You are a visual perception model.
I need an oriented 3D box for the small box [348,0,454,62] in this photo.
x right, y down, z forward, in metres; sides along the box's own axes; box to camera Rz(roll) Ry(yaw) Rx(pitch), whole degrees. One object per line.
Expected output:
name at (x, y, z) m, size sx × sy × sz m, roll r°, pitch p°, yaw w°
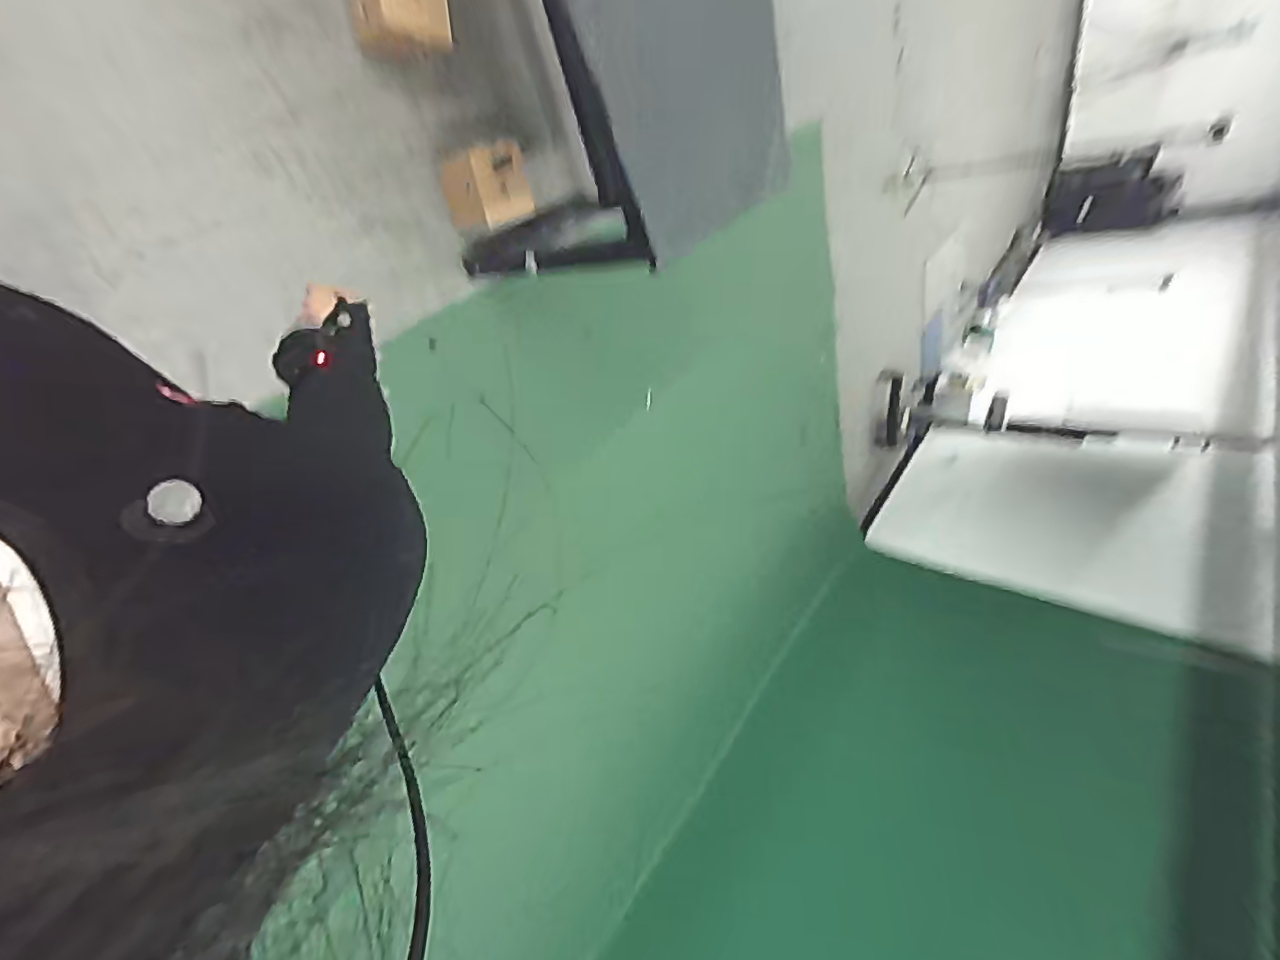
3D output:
small box at (-0.554, -1.098, 1.239) m, size 0.168 × 0.176 × 0.179 m, roll -23°, pitch 117°, yaw -44°

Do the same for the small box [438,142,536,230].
small box at (-0.421, -0.801, 1.483) m, size 0.168 × 0.176 × 0.179 m, roll -38°, pitch 129°, yaw -35°
